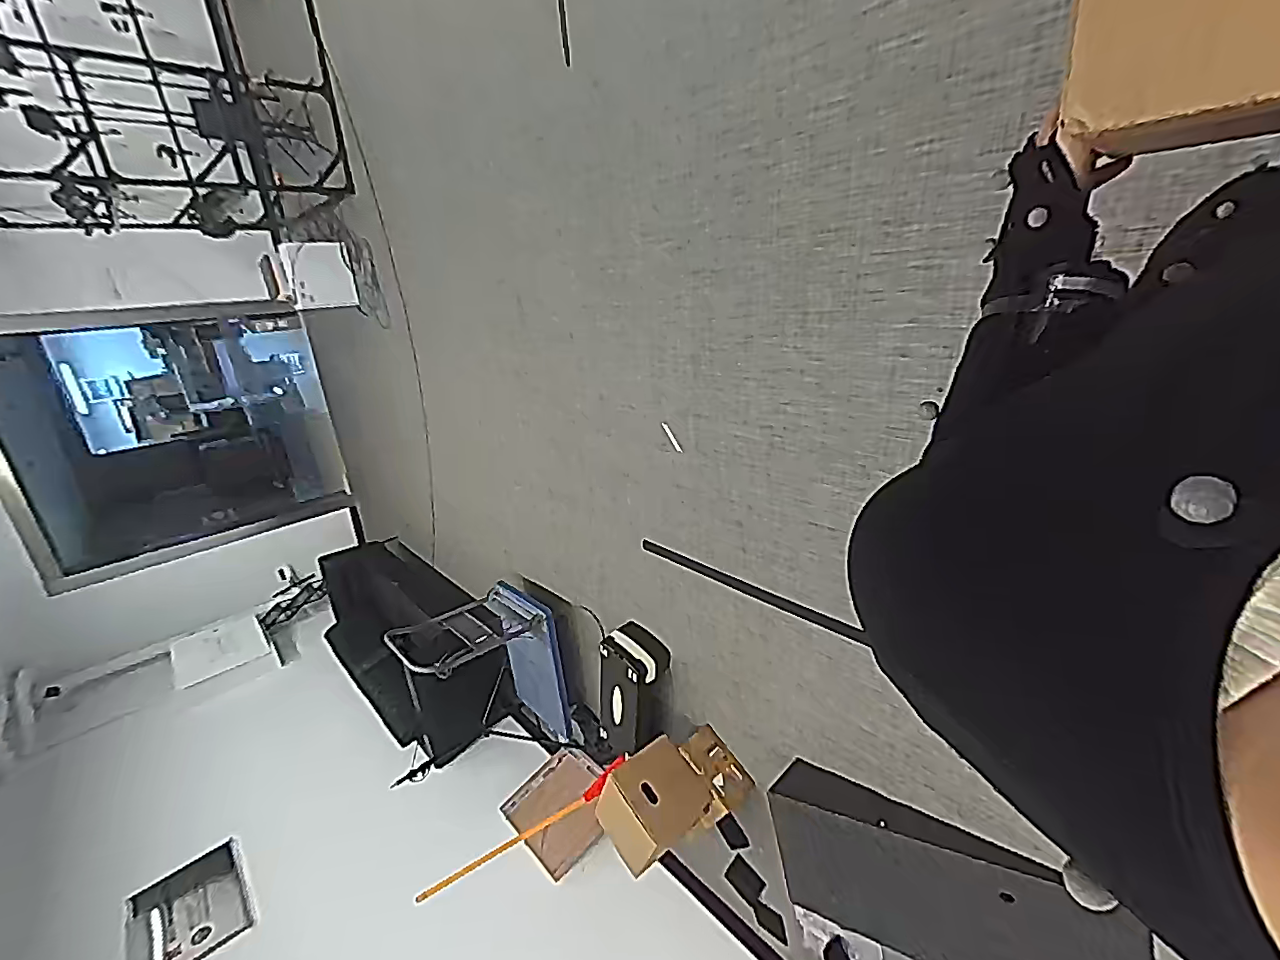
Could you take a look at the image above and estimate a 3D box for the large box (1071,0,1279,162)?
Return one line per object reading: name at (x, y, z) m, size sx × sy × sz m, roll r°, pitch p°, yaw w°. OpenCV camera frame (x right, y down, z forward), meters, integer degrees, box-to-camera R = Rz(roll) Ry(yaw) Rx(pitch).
large box at (0.425, -0.329, 0.178) m, size 0.408 × 0.320 × 0.320 m, roll 11°, pitch 119°, yaw 39°
